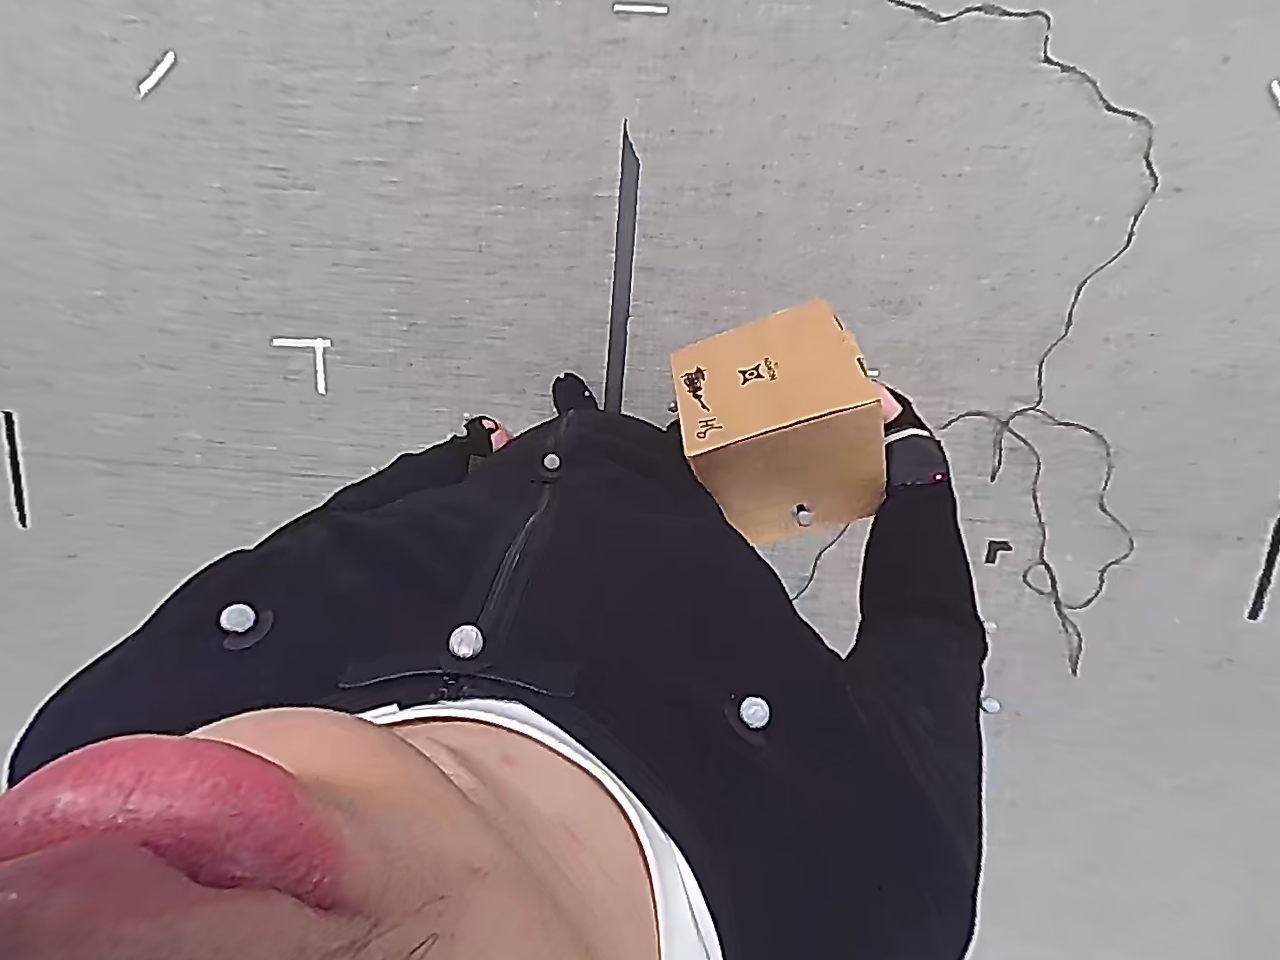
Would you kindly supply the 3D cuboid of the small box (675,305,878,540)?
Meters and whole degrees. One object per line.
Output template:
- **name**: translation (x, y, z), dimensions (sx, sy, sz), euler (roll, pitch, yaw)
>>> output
- **small box**: translation (0.151, -0.057, 0.604), dimensions (0.179, 0.168, 0.176), euler (-16, 136, 13)
